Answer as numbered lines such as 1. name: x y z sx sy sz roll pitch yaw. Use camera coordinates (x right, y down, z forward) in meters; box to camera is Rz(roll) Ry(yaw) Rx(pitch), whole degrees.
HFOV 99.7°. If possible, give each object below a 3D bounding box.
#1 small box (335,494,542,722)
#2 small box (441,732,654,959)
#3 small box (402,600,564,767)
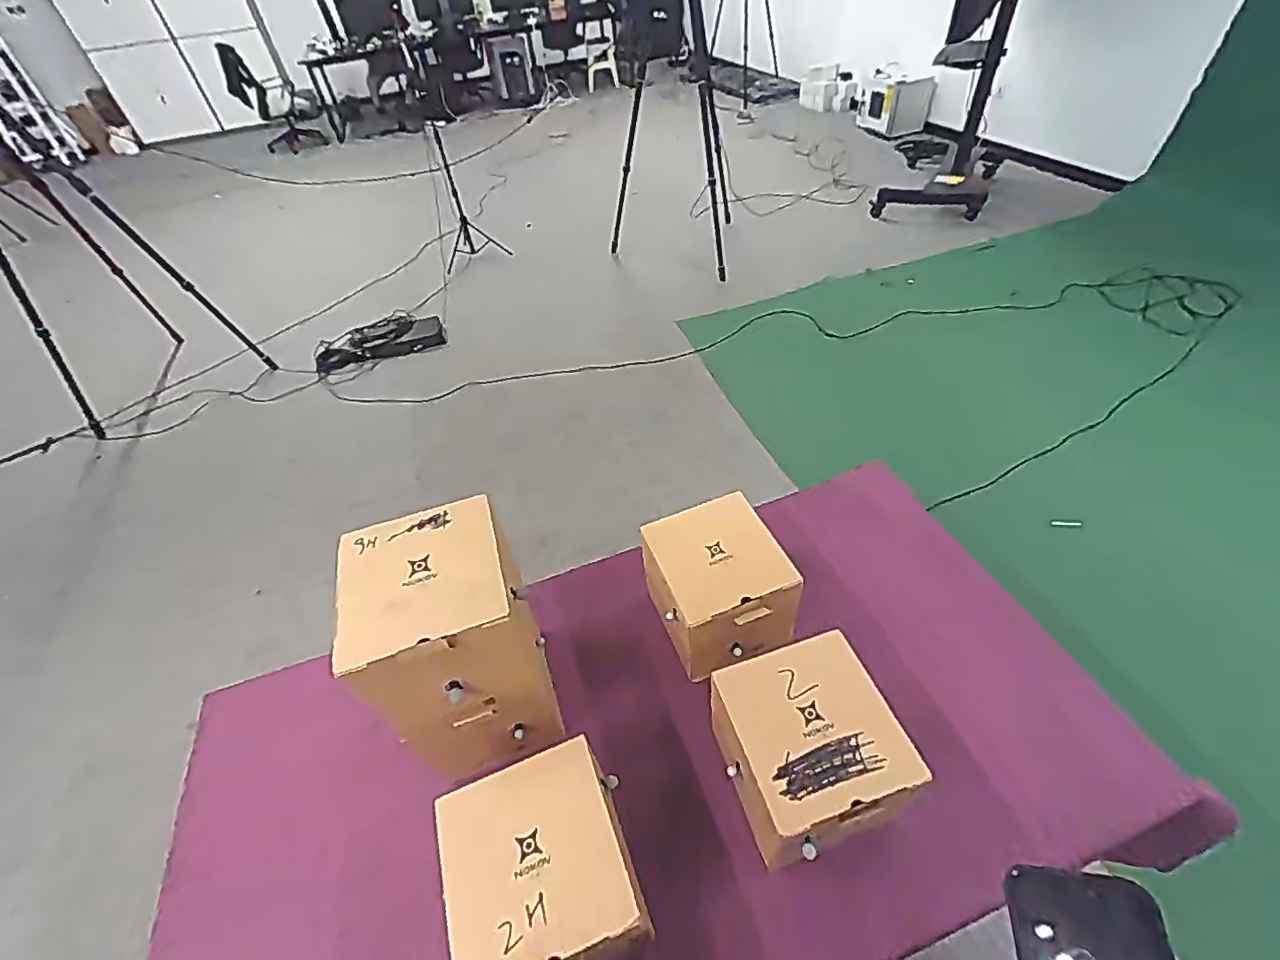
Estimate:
1. small box: -0.220 0.151 0.614 0.168 0.176 0.179 -17 48 -10
2. small box: -0.094 0.411 0.578 0.168 0.176 0.179 -20 47 -11
3. small box: -0.211 0.264 0.734 0.168 0.176 0.179 -17 47 -10
